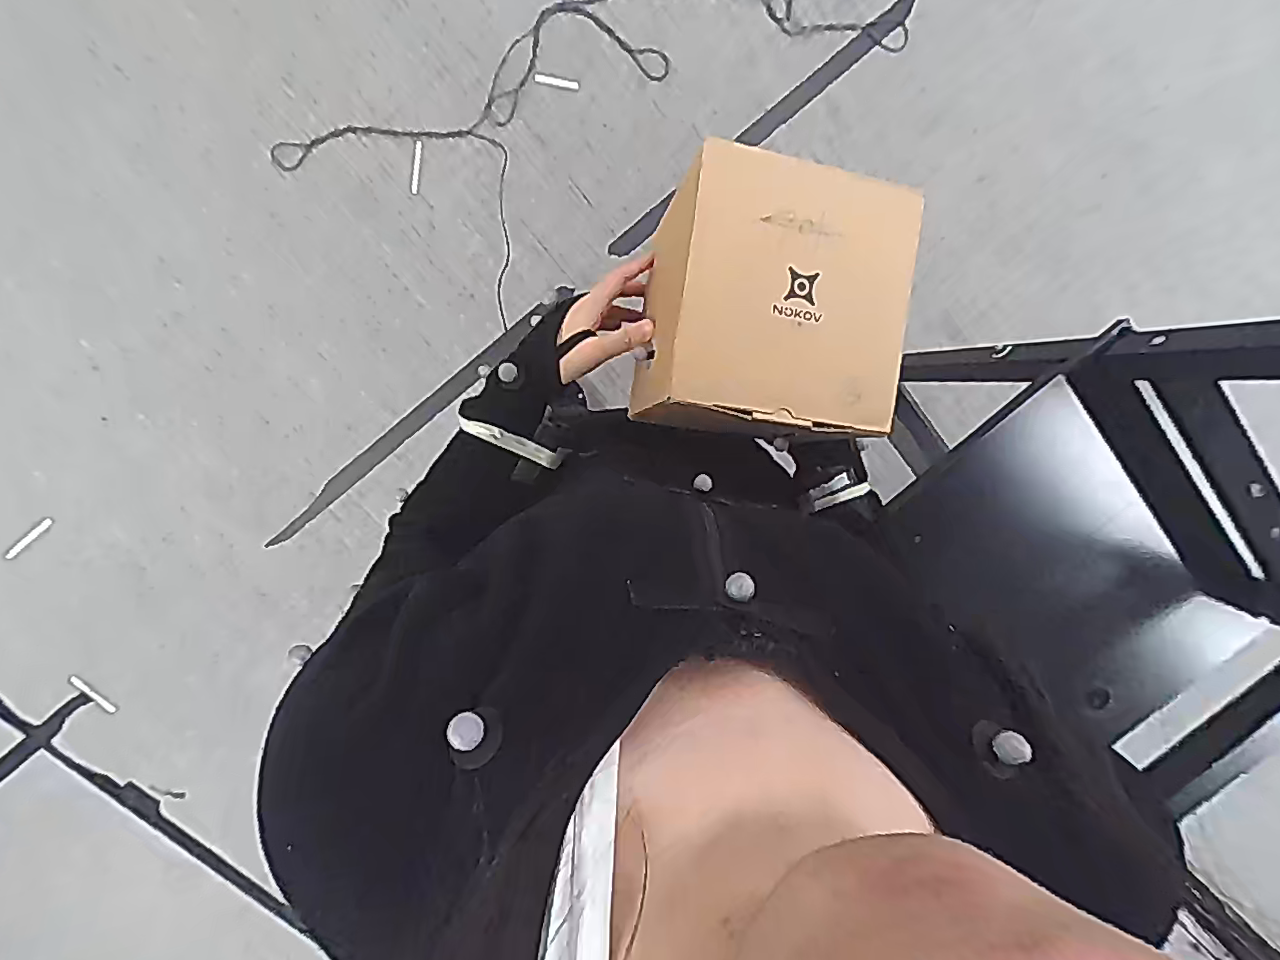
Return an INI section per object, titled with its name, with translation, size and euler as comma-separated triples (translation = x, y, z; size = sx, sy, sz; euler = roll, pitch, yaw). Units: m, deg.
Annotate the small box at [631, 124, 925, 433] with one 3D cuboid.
[small box]
translation = 0.091, -0.135, 0.438
size = 0.168, 0.176, 0.179
euler = 7, 91, -11
